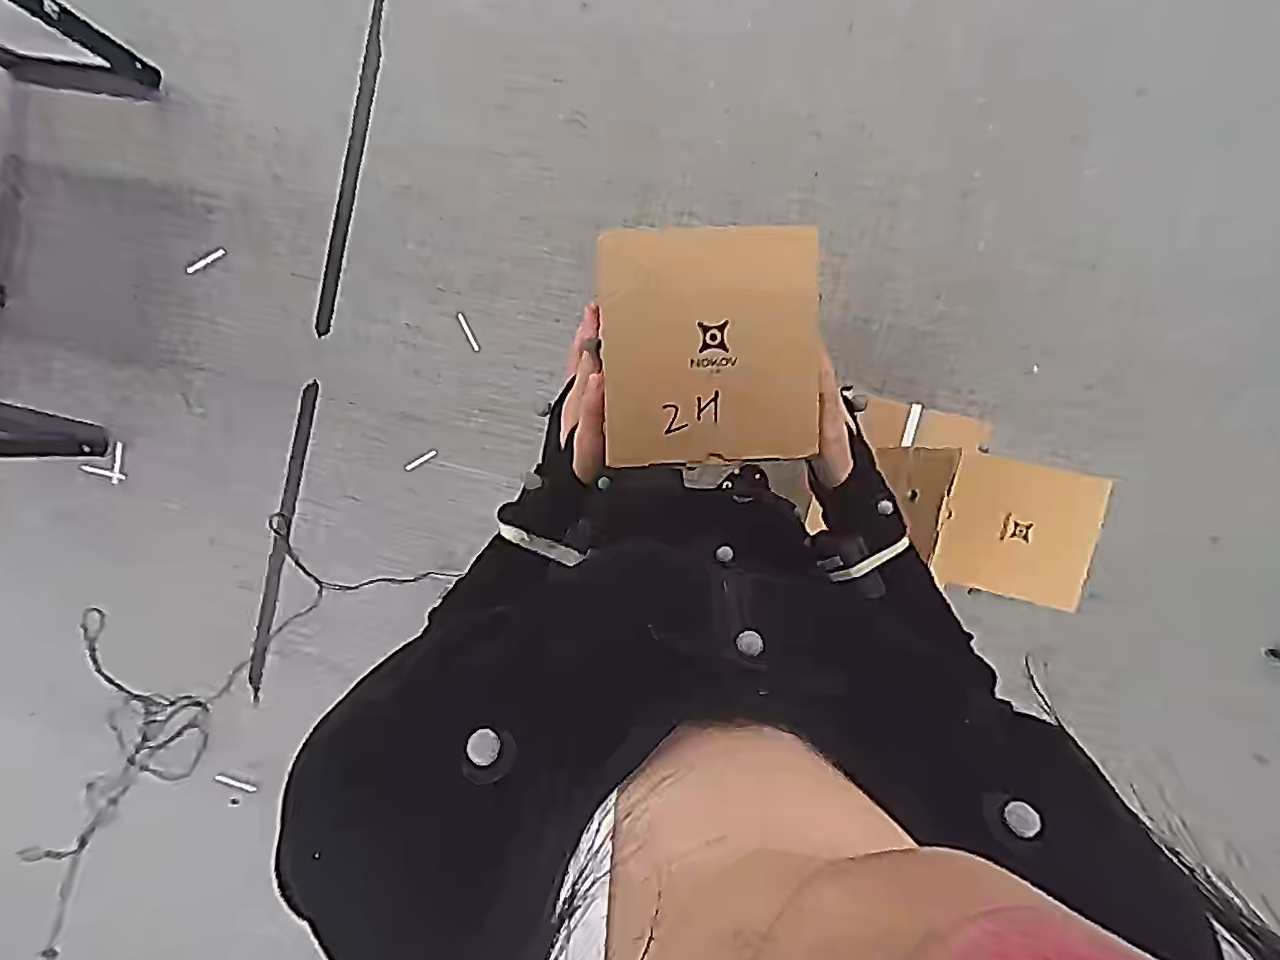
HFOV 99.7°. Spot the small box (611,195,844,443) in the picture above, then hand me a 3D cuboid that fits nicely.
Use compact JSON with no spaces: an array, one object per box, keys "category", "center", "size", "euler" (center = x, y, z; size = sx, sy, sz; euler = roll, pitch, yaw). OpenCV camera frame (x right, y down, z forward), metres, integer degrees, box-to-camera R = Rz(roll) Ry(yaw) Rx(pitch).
[{"category":"small box","center":[0.060,-0.125,0.473],"size":[0.168,0.176,0.179],"euler":[-1,100,-4]}]

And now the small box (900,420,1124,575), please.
[{"category":"small box","center":[0.472,0.012,0.717],"size":[0.179,0.176,0.168],"euler":[9,97,10]}]

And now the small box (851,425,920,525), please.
[{"category":"small box","center":[0.517,-0.008,1.040],"size":[0.168,0.176,0.179],"euler":[9,97,10]}]
